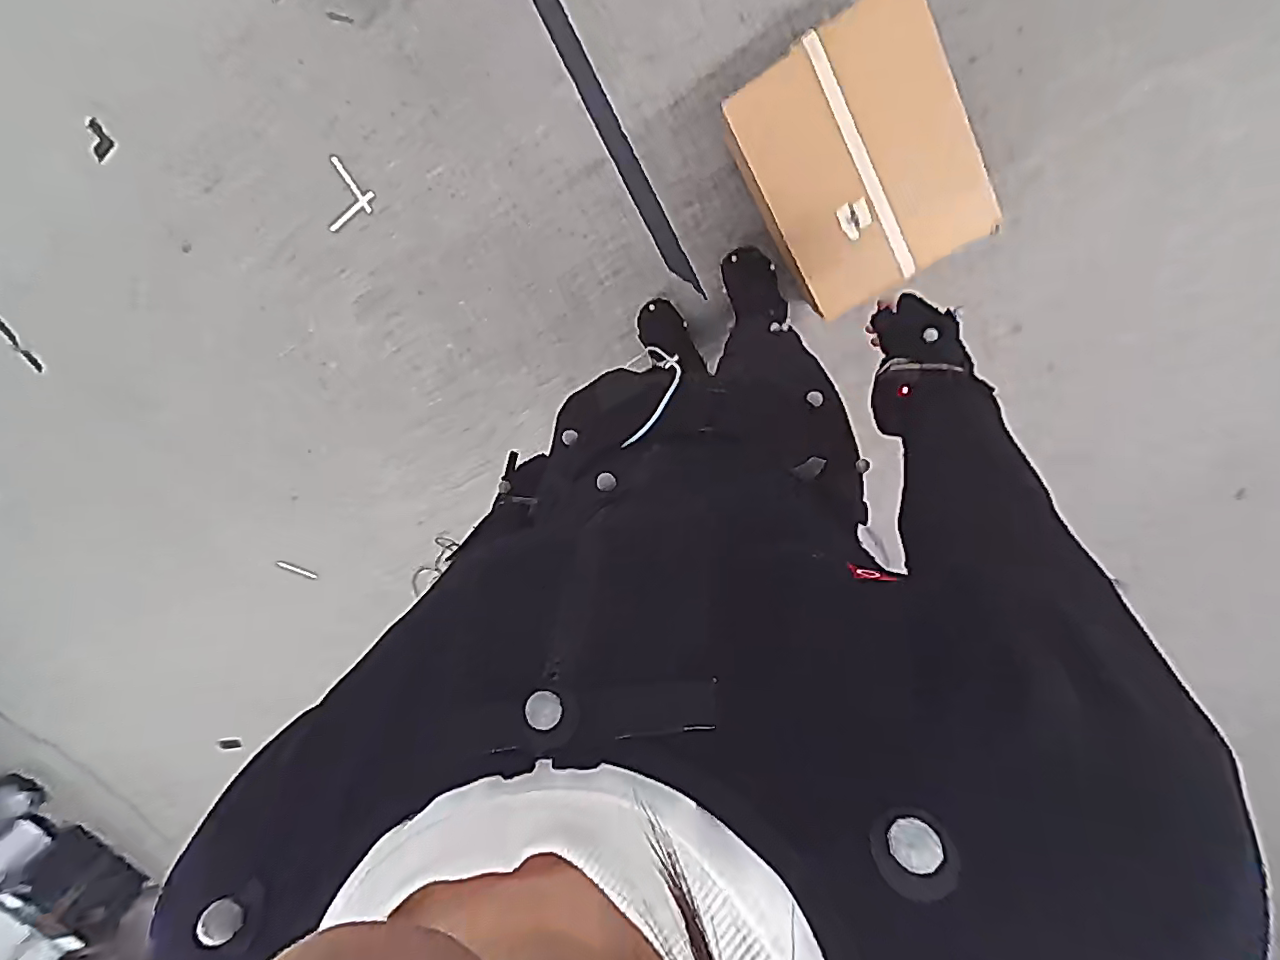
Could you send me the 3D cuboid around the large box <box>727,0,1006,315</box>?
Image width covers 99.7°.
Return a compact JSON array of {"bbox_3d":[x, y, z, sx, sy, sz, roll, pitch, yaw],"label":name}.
[{"bbox_3d":[0.392,-0.587,1.019,0.320,0.320,0.408,-27,109,21],"label":"large box"}]
